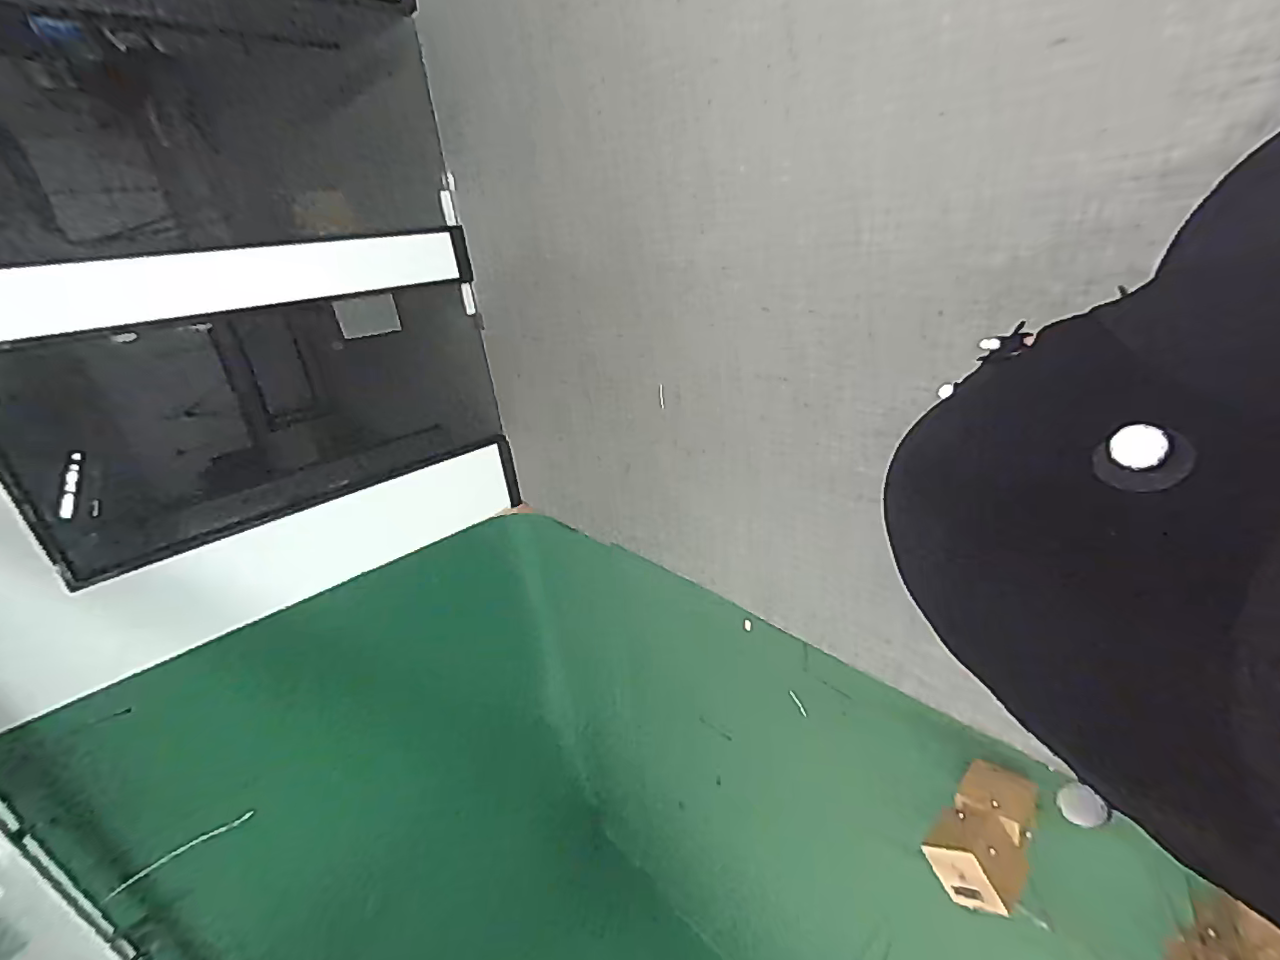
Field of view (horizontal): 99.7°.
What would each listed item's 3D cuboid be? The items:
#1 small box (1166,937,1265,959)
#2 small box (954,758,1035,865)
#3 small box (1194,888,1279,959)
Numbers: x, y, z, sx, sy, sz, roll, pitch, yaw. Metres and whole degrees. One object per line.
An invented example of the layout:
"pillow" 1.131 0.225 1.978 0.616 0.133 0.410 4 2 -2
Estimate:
"small box" 1.292 1.141 1.173 0.168 0.176 0.179 52 142 18
"small box" 1.070 0.992 1.630 0.168 0.176 0.179 9 118 49
"small box" 1.431 1.099 1.249 0.168 0.176 0.179 37 136 34
